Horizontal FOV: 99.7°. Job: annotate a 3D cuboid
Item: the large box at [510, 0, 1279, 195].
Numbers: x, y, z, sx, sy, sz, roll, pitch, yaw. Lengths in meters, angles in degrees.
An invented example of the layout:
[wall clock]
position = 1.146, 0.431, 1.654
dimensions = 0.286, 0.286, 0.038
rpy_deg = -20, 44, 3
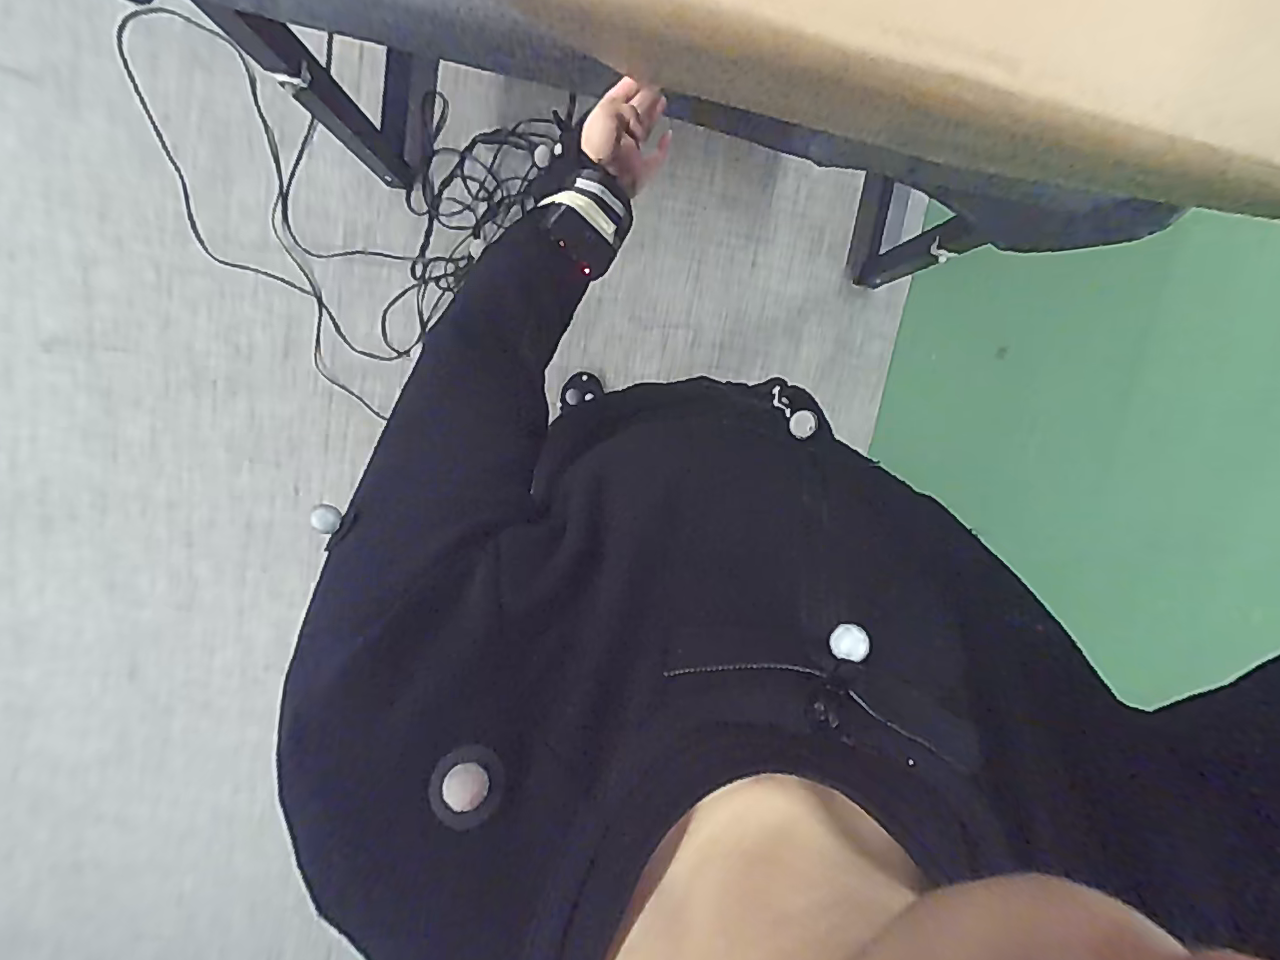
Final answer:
[large box]
position = 0.142, -0.355, 0.243
dimensions = 0.320, 0.408, 0.320
rpy_deg = 13, 125, -2
